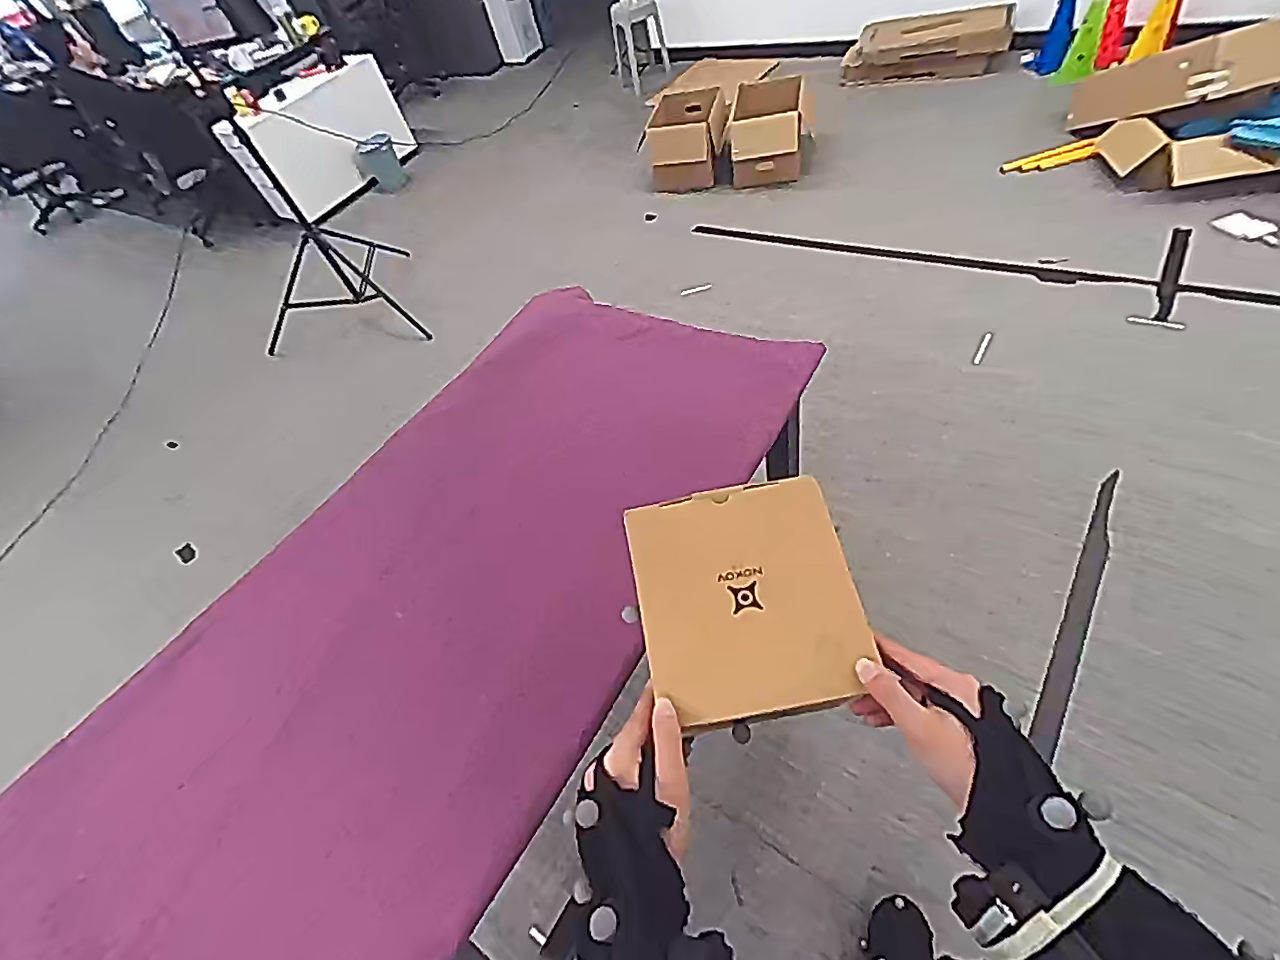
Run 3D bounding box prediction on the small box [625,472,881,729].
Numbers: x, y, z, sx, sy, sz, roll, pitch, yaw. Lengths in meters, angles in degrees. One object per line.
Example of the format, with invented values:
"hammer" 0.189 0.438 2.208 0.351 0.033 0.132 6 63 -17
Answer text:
"small box" 0.089 0.119 0.488 0.168 0.176 0.179 -11 61 2
